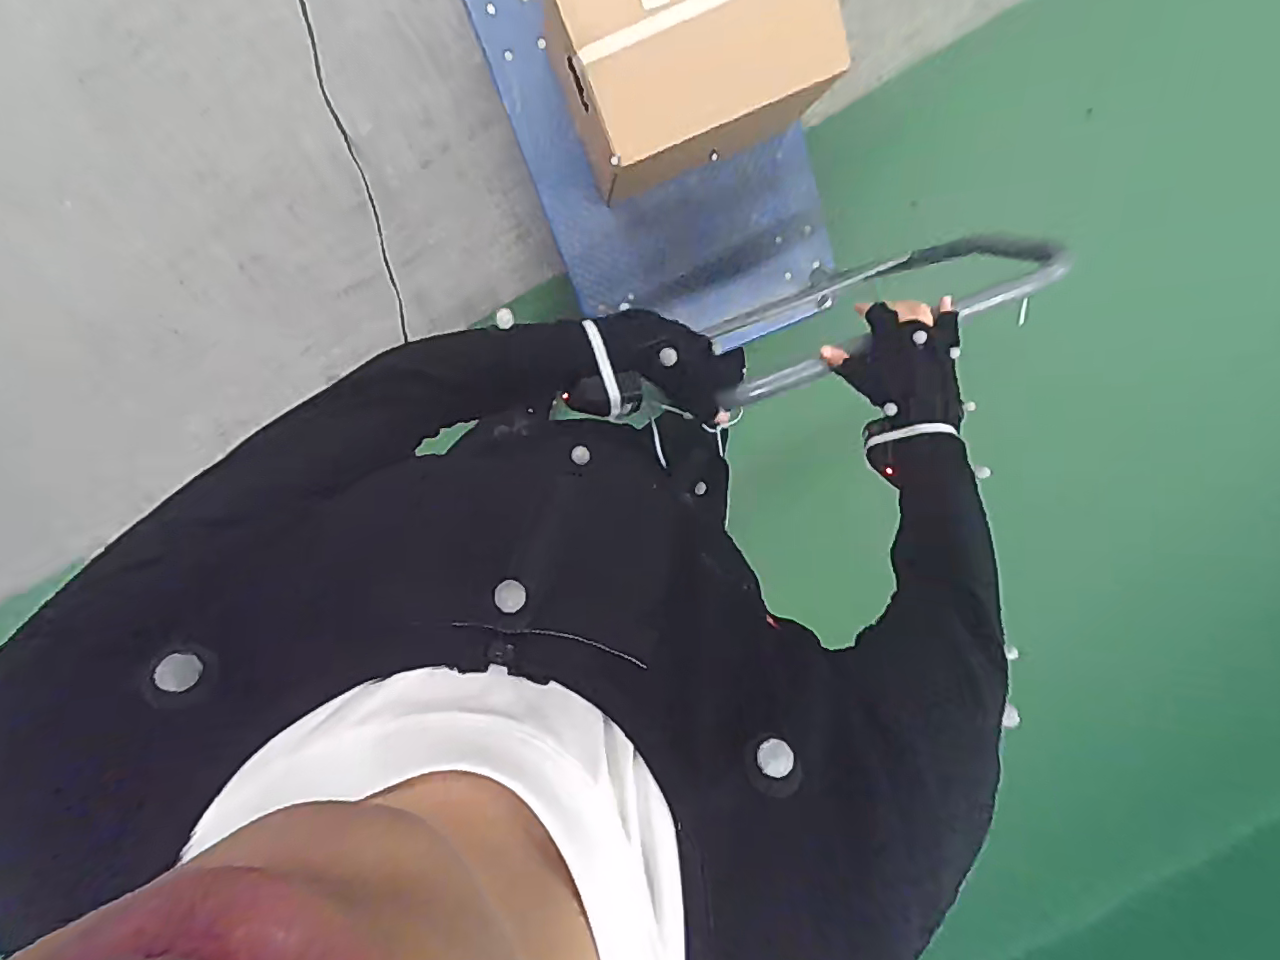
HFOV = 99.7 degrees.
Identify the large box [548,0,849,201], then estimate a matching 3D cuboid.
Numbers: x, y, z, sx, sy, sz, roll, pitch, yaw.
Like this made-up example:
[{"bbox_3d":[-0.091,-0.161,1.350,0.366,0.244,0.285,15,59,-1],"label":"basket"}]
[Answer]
[{"bbox_3d":[0.082,-0.757,0.958,0.408,0.320,0.320,-23,106,1],"label":"large box"}]
